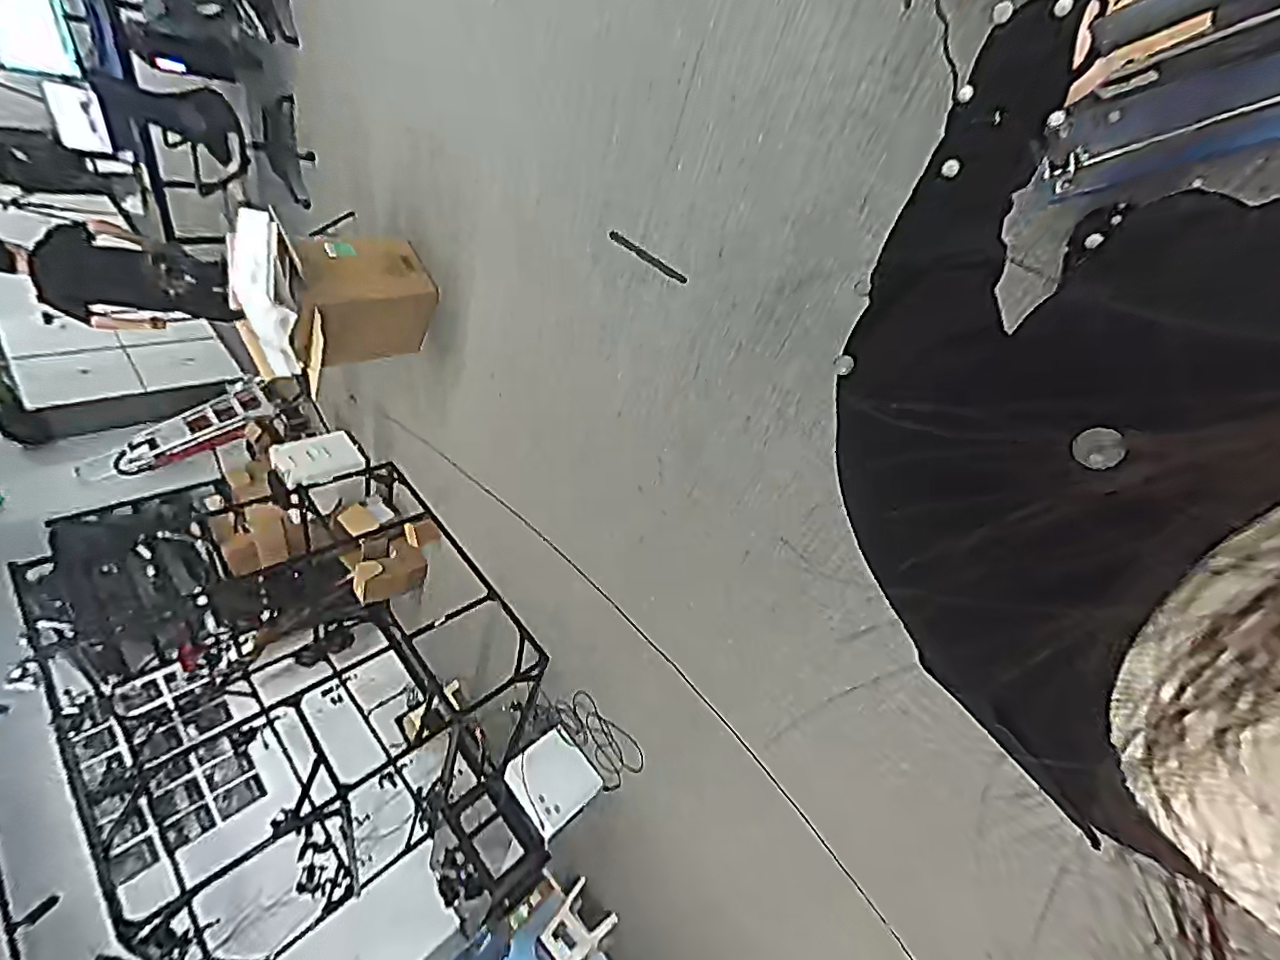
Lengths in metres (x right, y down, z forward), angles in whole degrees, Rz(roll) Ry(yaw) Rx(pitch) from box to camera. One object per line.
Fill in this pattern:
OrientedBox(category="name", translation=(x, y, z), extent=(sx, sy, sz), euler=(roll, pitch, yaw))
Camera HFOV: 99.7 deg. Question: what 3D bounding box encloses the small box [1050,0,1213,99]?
OrientedBox(category="small box", translation=(0.731, -0.702, 0.805), extent=(0.168, 0.176, 0.179), euler=(-5, 105, 46))
